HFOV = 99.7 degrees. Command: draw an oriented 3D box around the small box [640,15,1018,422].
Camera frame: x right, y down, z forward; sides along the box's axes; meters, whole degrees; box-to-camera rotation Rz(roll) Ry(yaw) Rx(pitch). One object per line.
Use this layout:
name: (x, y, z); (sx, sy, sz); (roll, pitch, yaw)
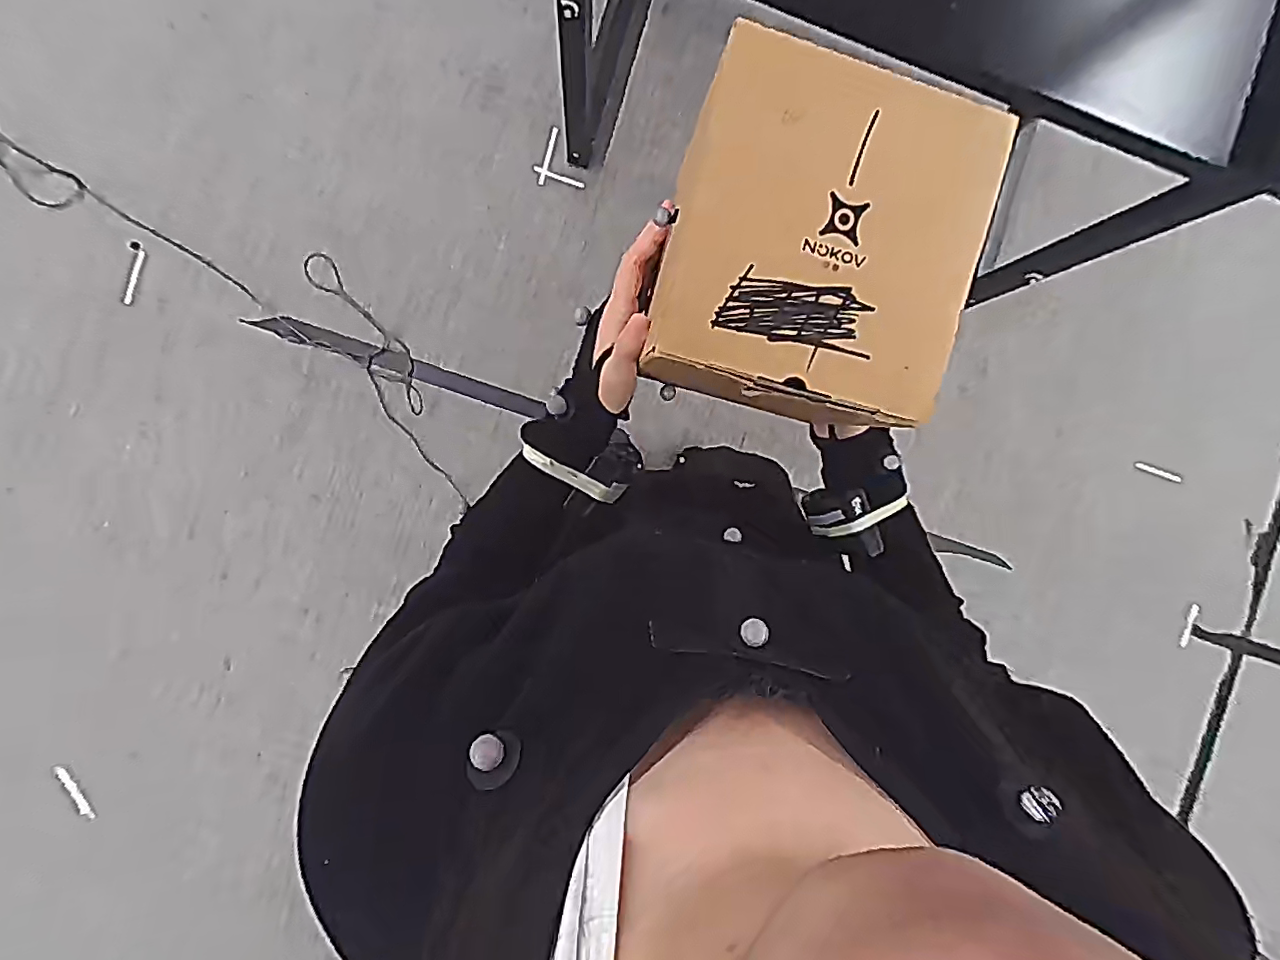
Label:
small box: (0.099, -0.144, 0.371); (0.168, 0.176, 0.179); (14, 95, -7)
